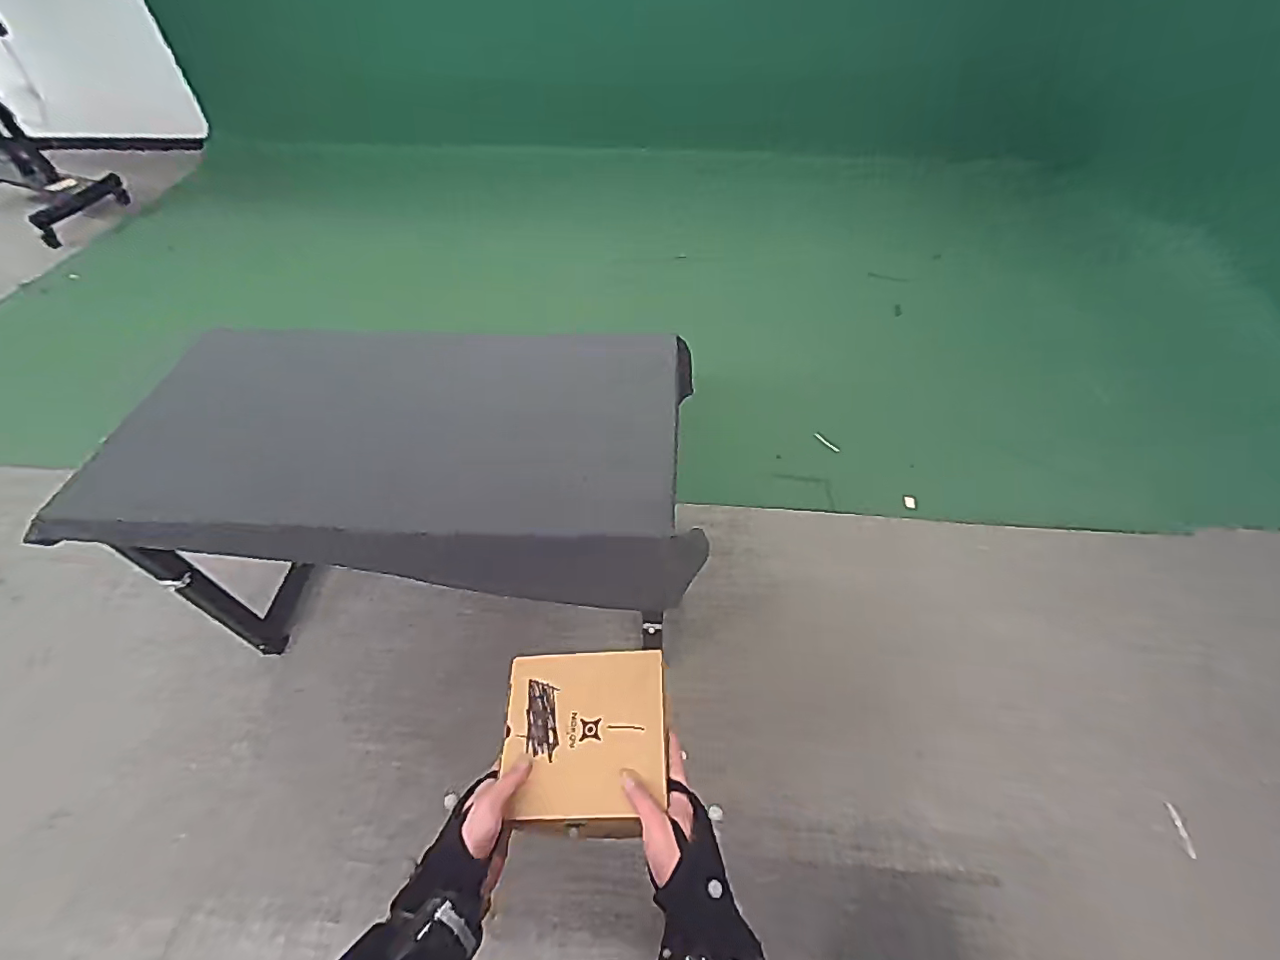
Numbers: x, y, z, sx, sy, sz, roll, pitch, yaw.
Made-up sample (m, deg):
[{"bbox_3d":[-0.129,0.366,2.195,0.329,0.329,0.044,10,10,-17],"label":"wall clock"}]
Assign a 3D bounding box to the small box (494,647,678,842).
[{"bbox_3d":[-0.048,0.305,0.617,0.179,0.176,0.168,-3,51,1],"label":"small box"}]
